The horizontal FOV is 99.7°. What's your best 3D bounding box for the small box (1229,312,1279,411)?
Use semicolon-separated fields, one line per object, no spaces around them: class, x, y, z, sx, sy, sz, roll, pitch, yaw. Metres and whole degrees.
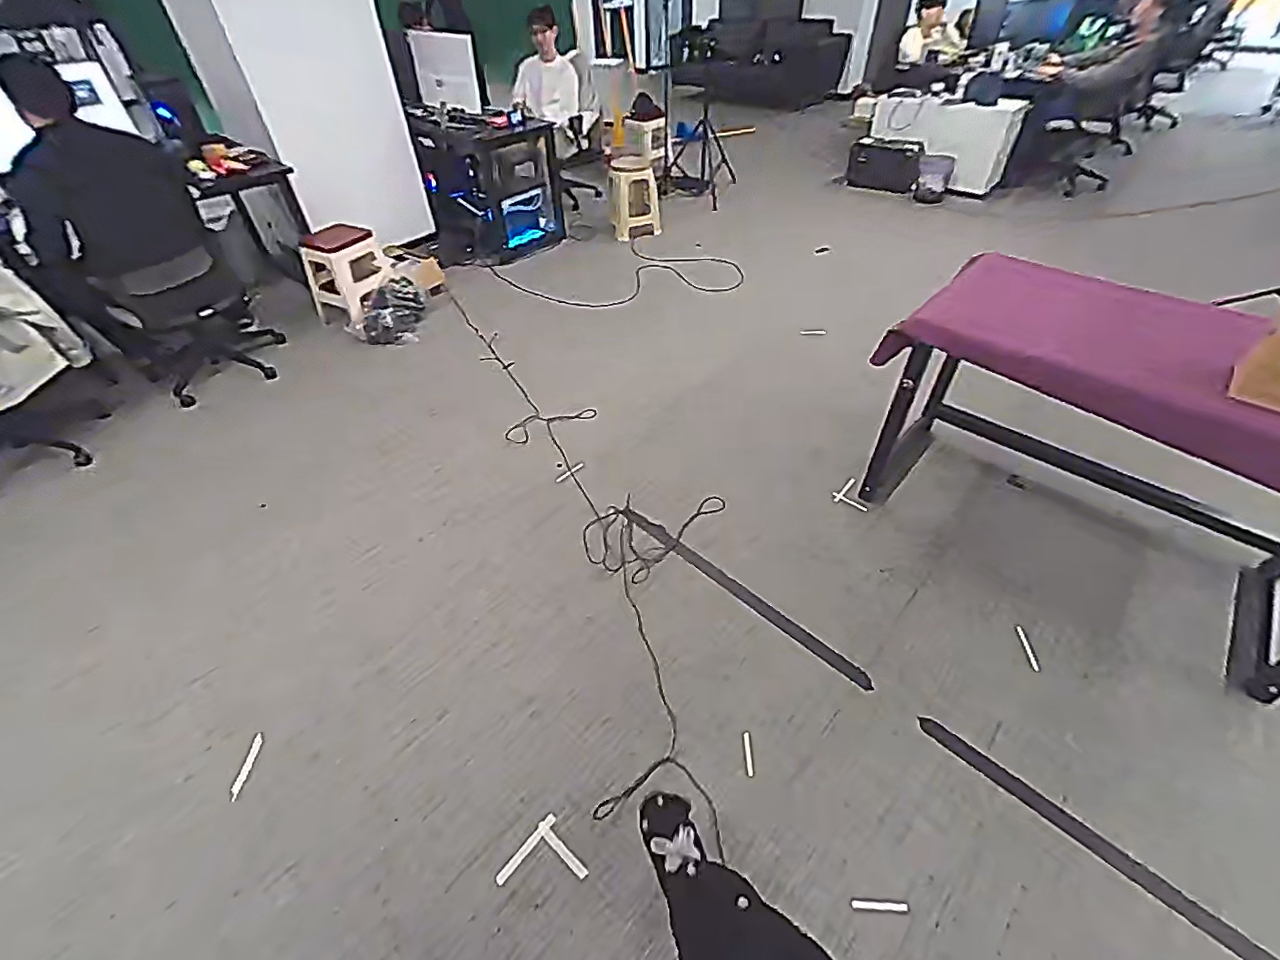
small box;1.457;-0.256;1.184;0.168;0.176;0.179;32;53;31
